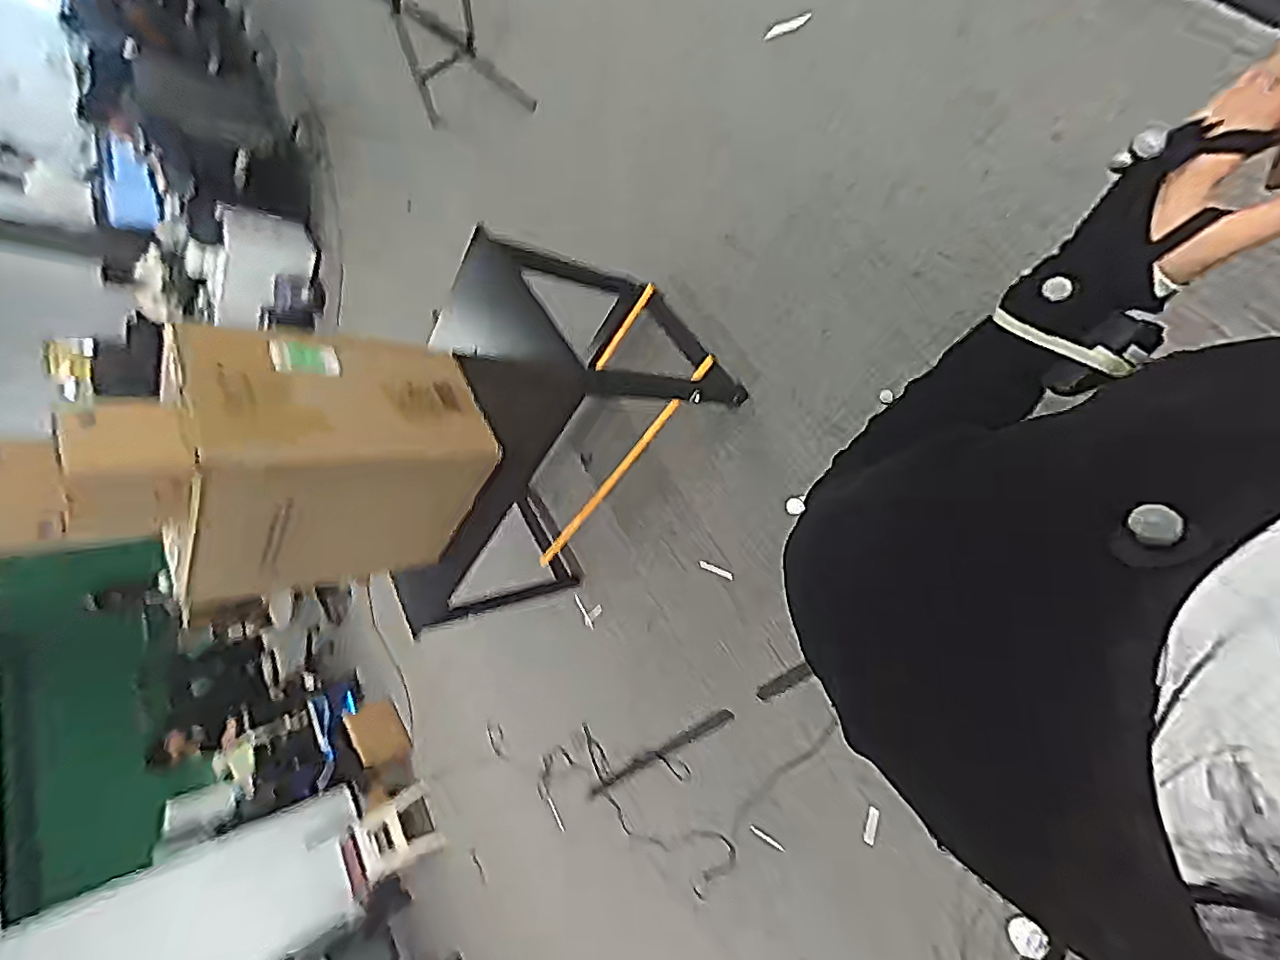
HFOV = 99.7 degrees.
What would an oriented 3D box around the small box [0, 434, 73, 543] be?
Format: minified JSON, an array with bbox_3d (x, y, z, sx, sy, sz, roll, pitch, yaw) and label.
[{"bbox_3d":[-1.287,0.020,1.107,0.168,0.176,0.179,-47,63,35],"label":"small box"}]

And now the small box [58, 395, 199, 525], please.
[{"bbox_3d":[-0.954,-0.040,1.012,0.179,0.176,0.168,55,128,23],"label":"small box"}]

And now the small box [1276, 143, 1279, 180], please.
[{"bbox_3d":[0.419,-0.224,0.218,0.179,0.176,0.168,12,117,37],"label":"small box"}]

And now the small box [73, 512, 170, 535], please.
[{"bbox_3d":[-1.185,-0.001,1.234,0.168,0.176,0.179,-48,62,33],"label":"small box"}]
